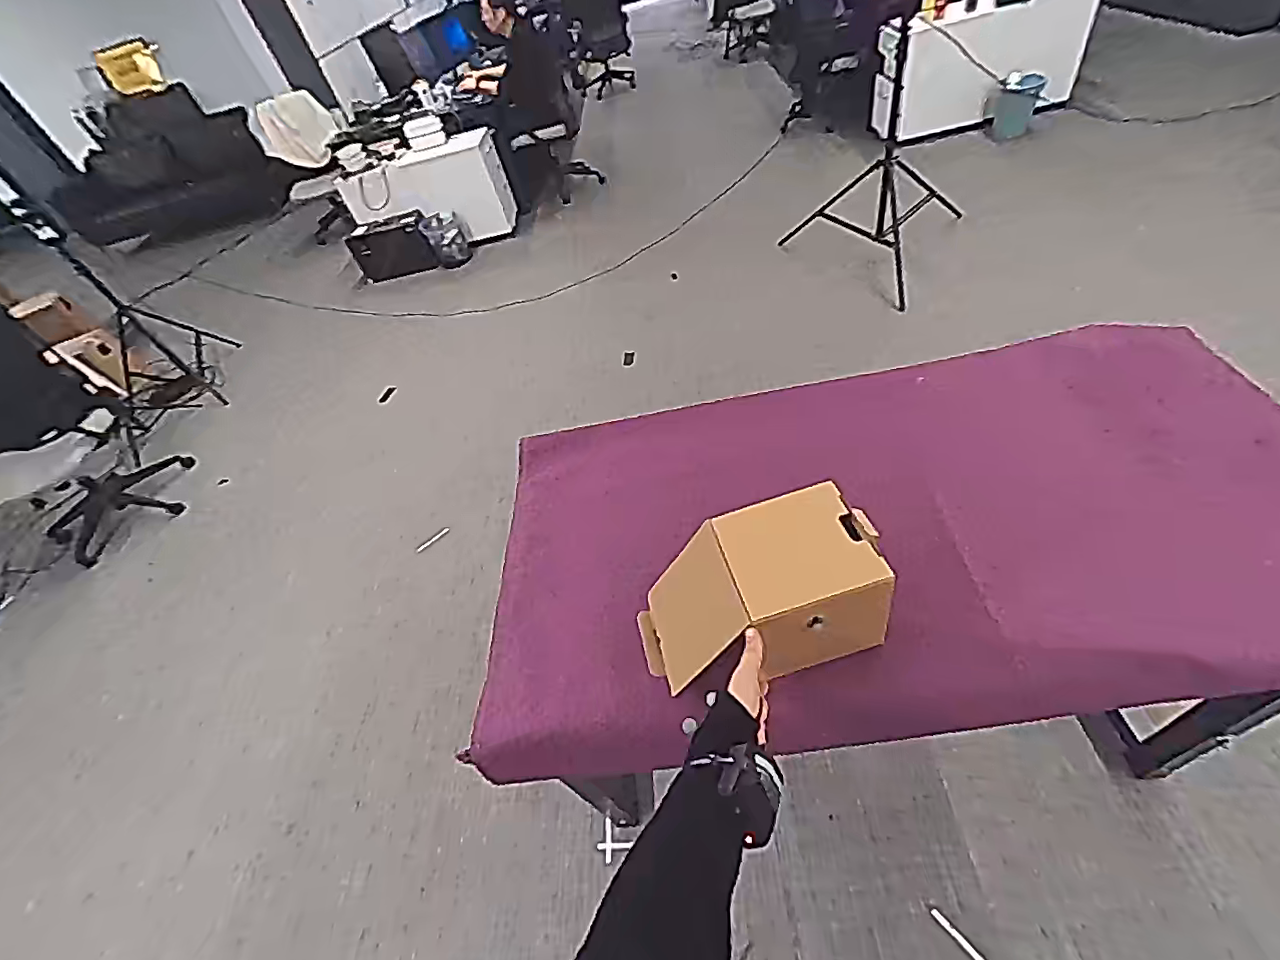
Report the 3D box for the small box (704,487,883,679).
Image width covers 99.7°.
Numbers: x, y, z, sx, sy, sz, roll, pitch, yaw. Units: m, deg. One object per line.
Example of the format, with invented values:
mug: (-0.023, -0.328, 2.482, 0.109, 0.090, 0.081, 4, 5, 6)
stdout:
small box: (0.202, 0.143, 0.729, 0.179, 0.176, 0.168, -18, 45, 2)
